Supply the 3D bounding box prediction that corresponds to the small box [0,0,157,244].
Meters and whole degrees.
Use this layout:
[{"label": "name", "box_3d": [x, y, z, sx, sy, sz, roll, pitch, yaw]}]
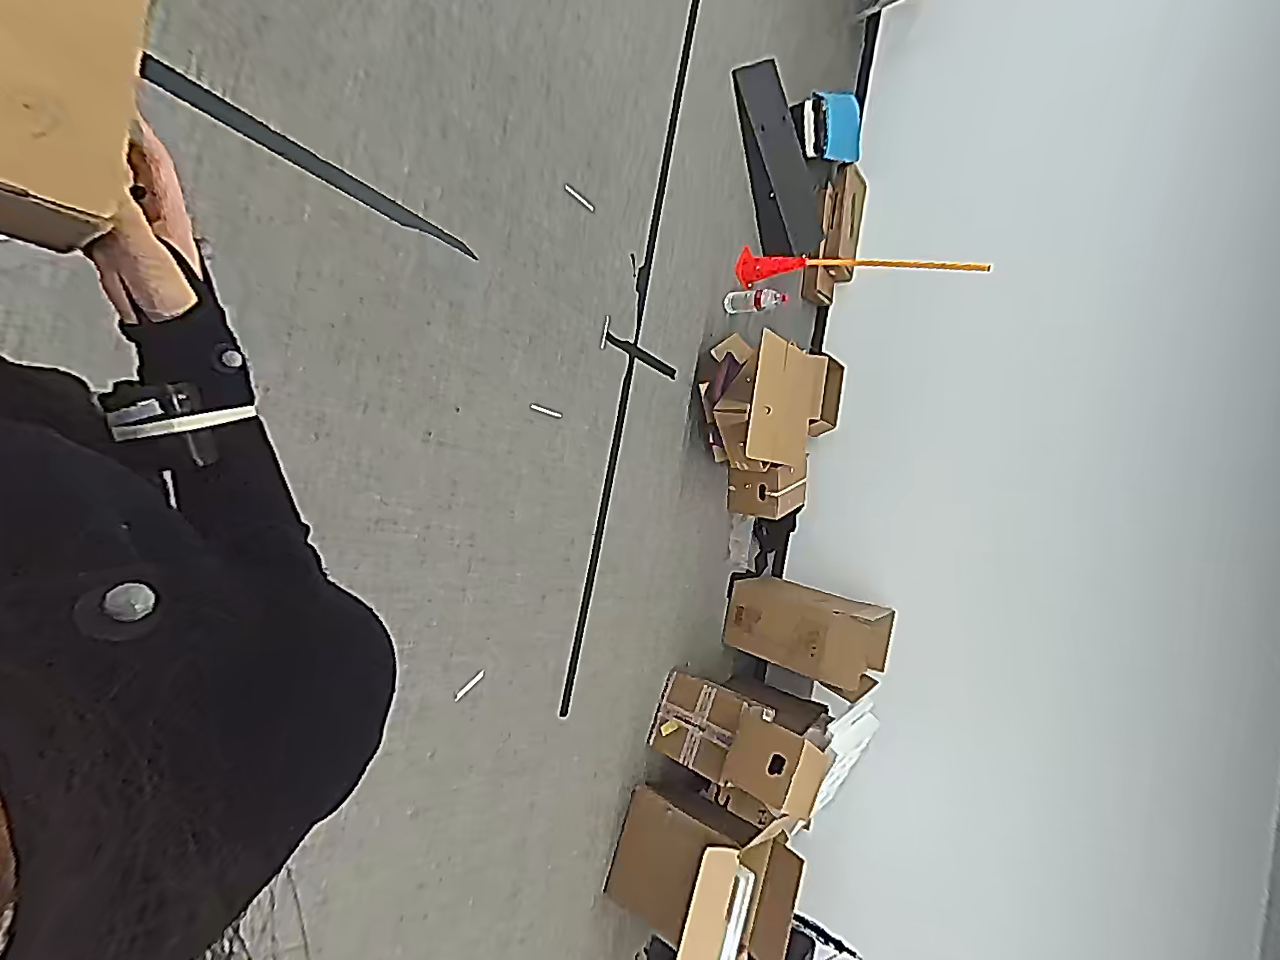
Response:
[{"label": "small box", "box_3d": [-0.369, -0.236, 0.266, 0.168, 0.176, 0.179, 8, 94, -53]}]
